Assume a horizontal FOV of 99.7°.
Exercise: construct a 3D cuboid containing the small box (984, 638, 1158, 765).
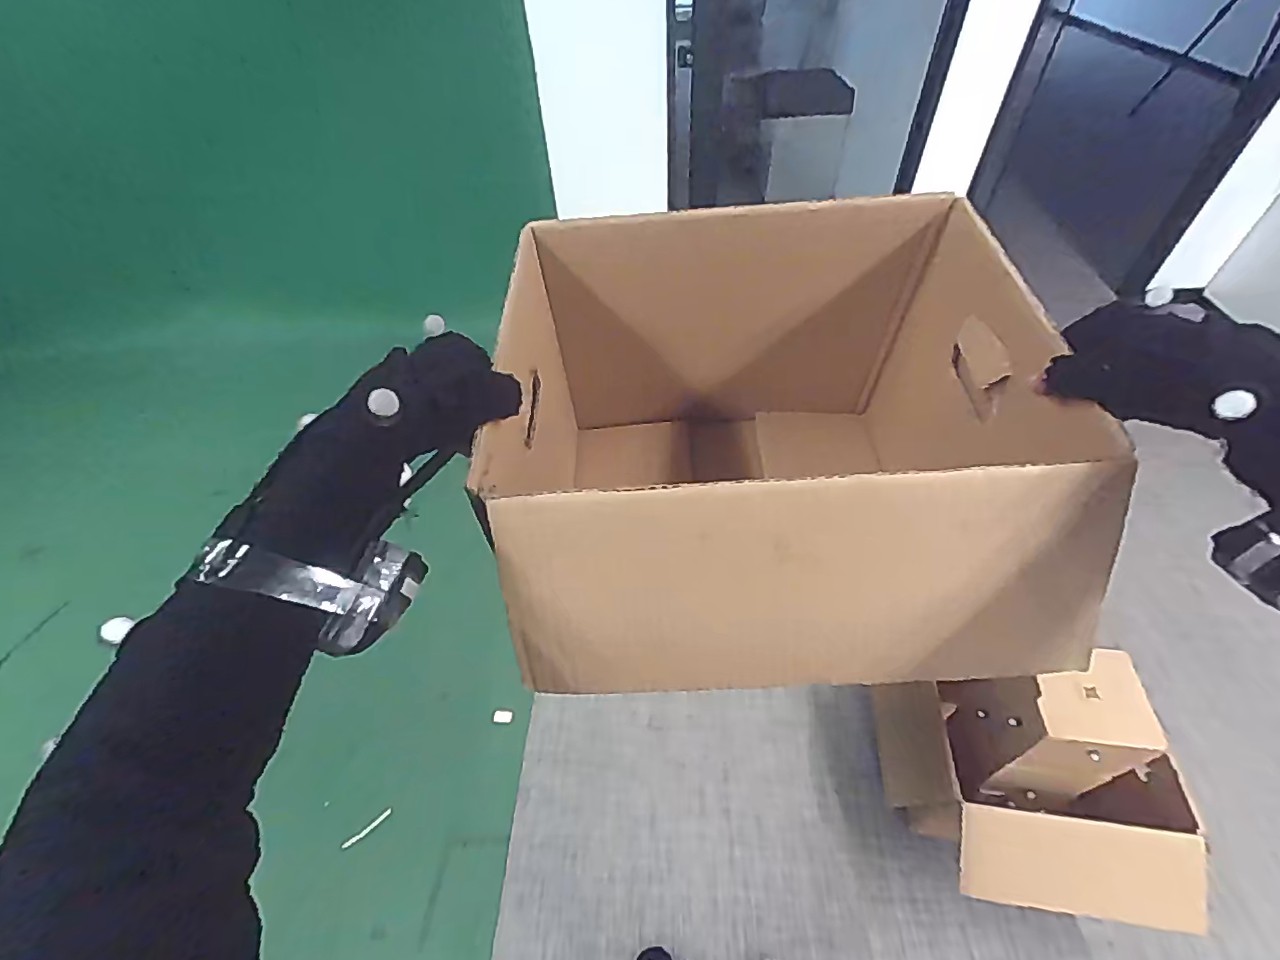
[{"bbox_3d":[0.757,0.404,0.982,0.179,0.176,0.168,2,50,8],"label":"small box"}]
